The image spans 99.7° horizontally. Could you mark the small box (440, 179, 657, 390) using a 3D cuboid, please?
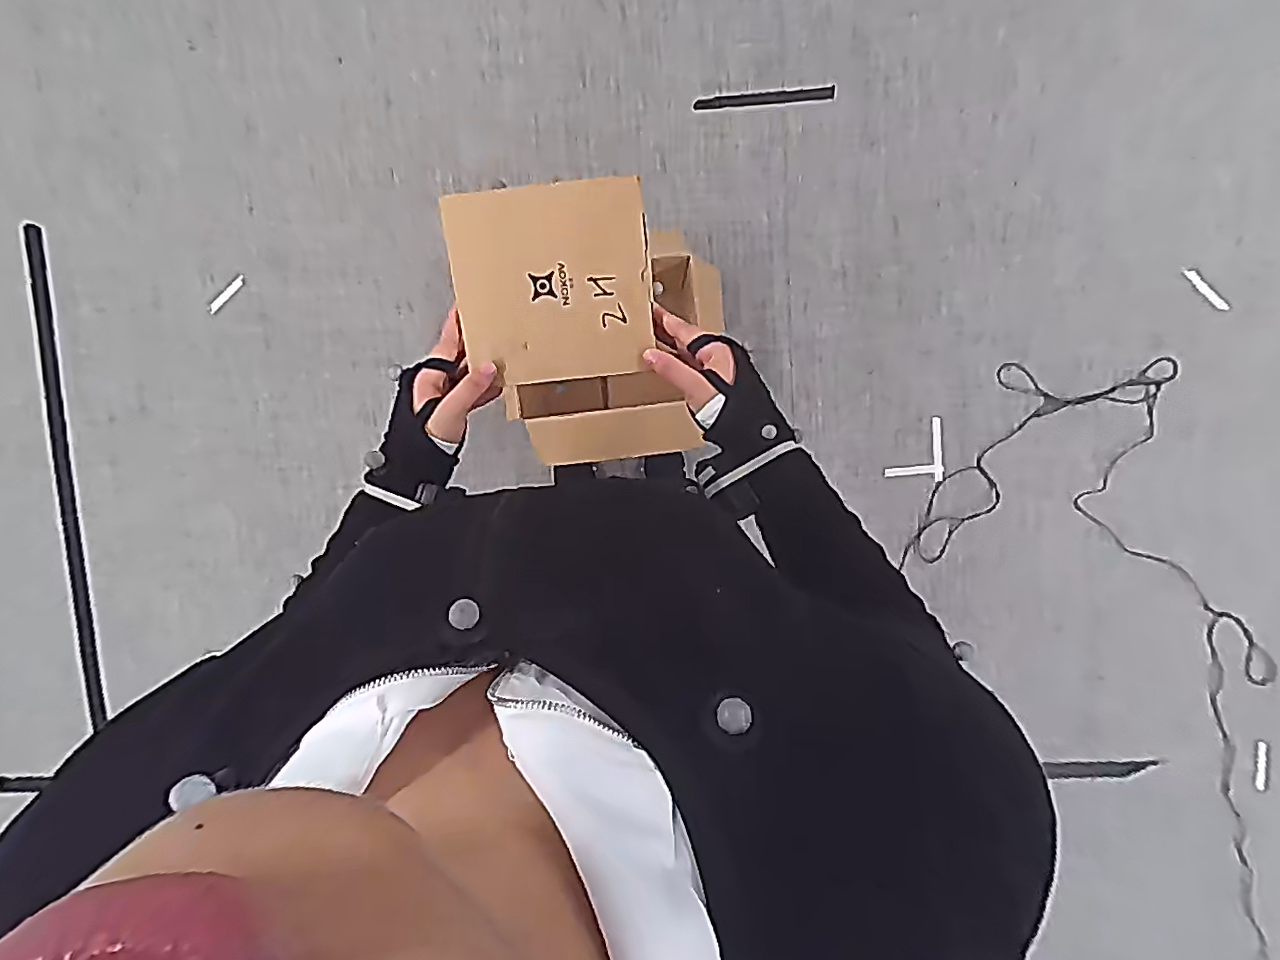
[{"bbox_3d":[-0.077,-0.184,0.548,0.179,0.176,0.168,-6,104,0],"label":"small box"}]
